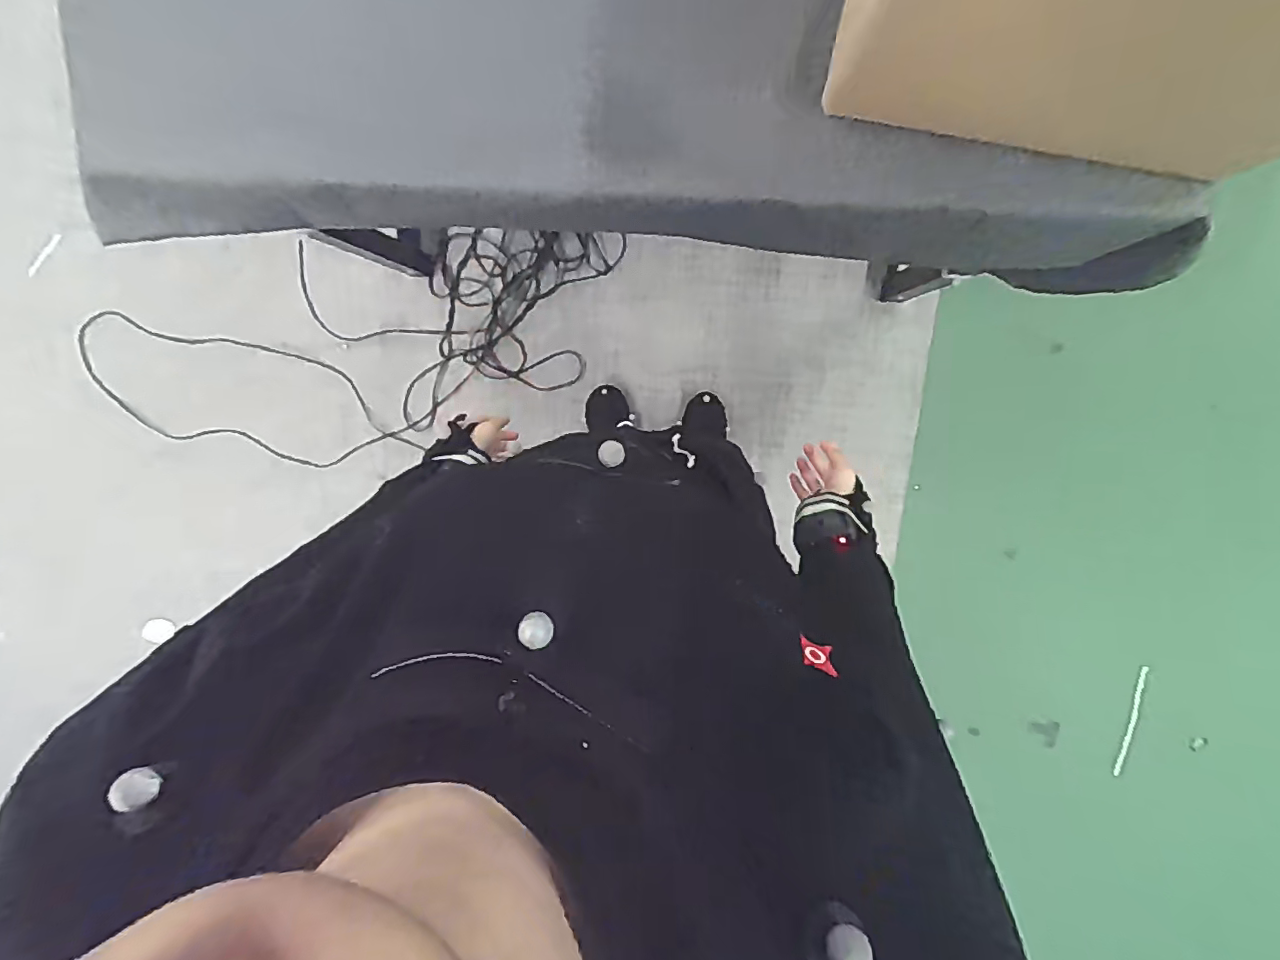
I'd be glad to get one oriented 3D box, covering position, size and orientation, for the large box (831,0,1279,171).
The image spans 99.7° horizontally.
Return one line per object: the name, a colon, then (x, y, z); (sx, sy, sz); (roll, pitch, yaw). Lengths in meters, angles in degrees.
large box: (0.400, -0.460, 0.371); (0.408, 0.320, 0.320); (11, 101, 1)
